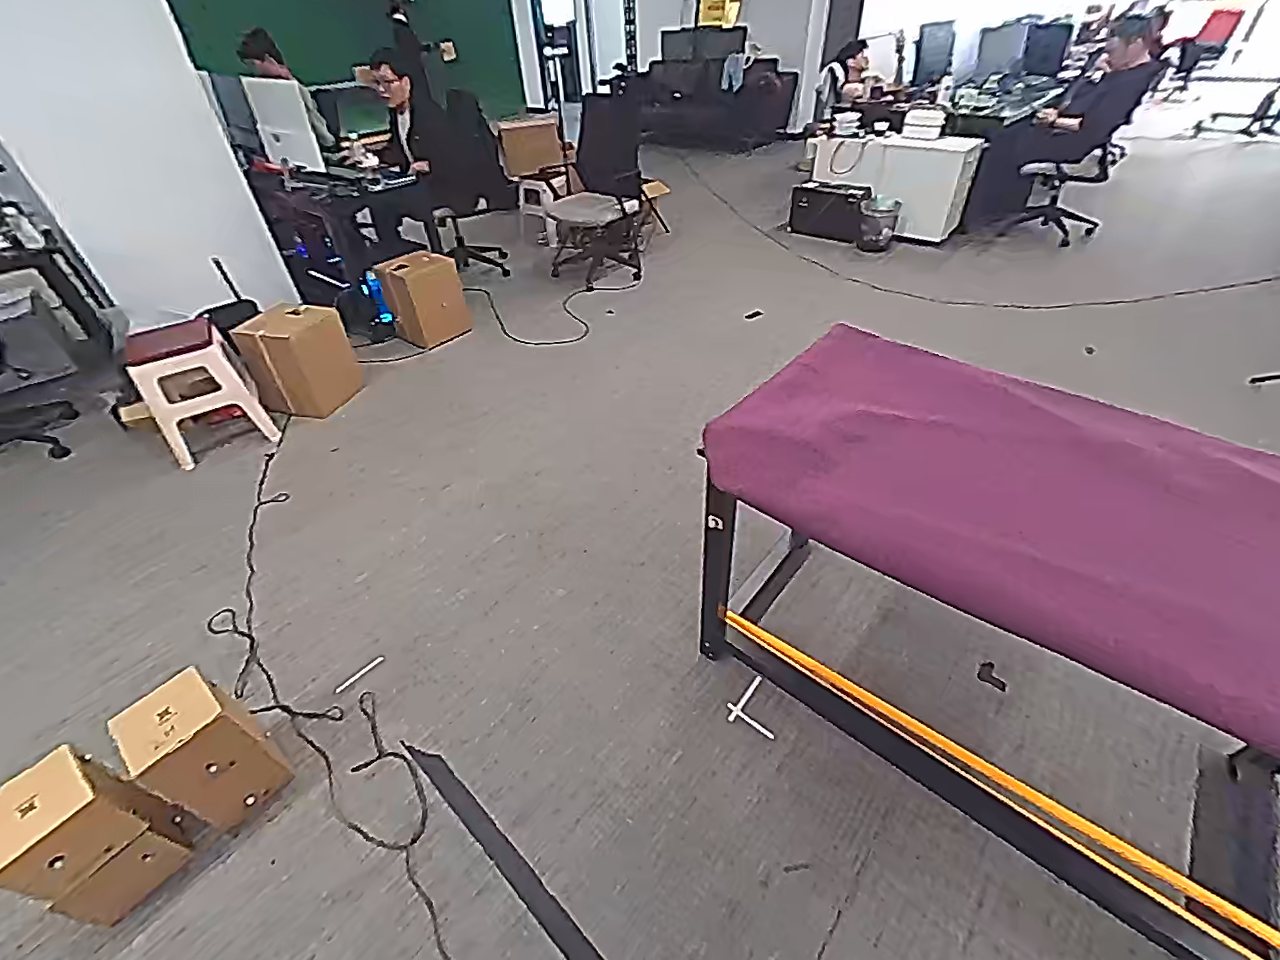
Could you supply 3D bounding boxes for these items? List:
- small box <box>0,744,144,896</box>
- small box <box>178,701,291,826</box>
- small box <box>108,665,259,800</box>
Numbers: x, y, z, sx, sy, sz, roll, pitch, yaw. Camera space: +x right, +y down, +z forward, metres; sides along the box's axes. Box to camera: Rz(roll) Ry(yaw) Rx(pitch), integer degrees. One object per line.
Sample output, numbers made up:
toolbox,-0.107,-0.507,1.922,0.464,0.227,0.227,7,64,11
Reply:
small box,-1.128,0.663,1.050,0.179,0.176,0.168,24,48,28
small box,-0.972,0.670,1.276,0.179,0.176,0.168,29,51,30
small box,-0.977,0.547,1.167,0.179,0.176,0.168,28,50,29
